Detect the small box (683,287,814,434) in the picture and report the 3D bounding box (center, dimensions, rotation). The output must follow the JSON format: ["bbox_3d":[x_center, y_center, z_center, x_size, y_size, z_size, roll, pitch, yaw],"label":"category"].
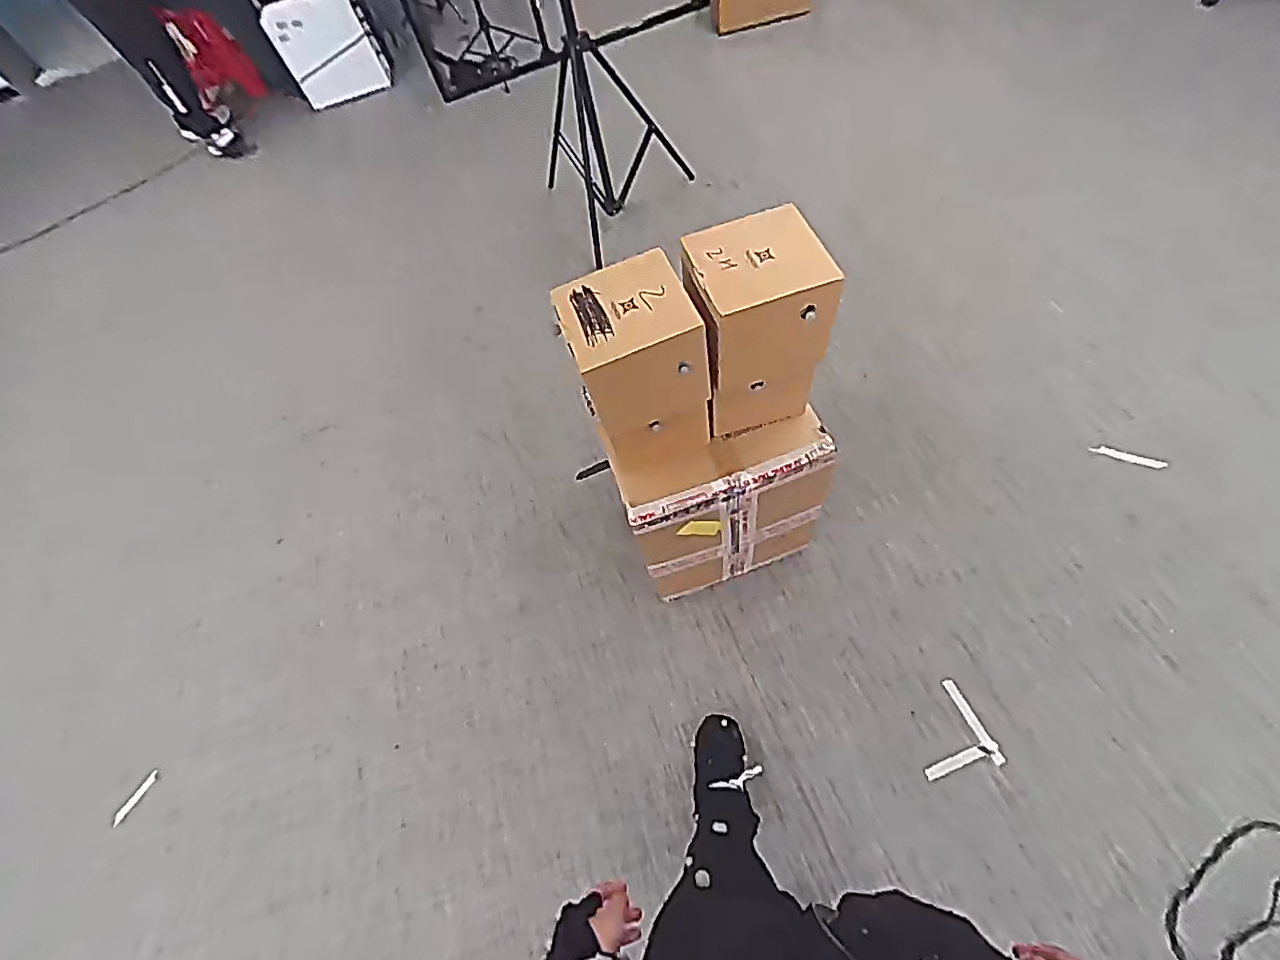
[{"bbox_3d":[0.186,-0.204,0.958,0.179,0.176,0.168,-15,61,0],"label":"small box"}]
